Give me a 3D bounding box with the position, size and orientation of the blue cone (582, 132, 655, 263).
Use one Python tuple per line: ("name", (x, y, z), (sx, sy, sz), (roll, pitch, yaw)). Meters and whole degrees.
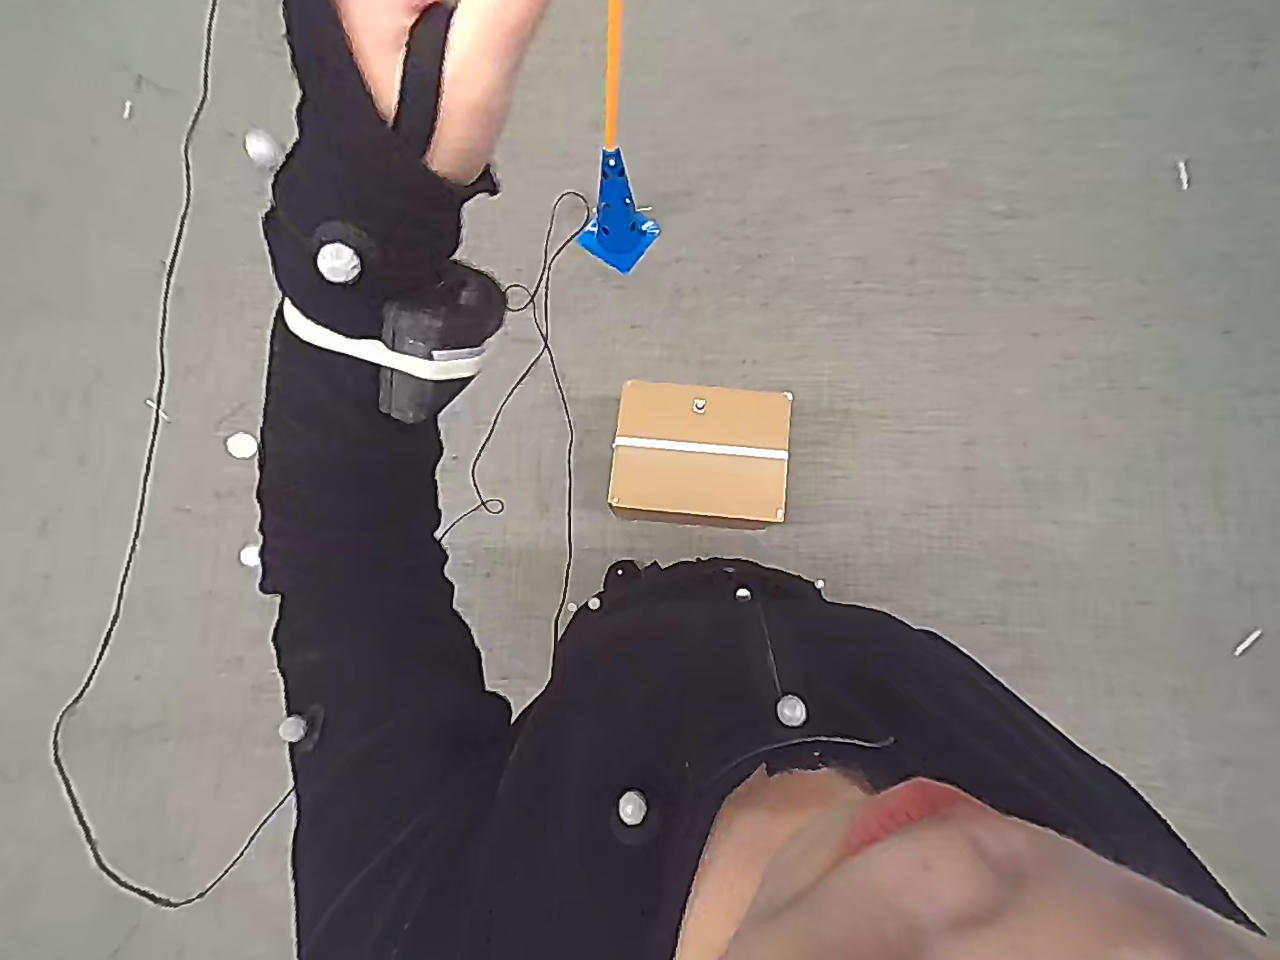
("blue cone", (-0.069, -0.810, 1.511), (0.192, 0.380, 0.193), (33, 81, 6))
